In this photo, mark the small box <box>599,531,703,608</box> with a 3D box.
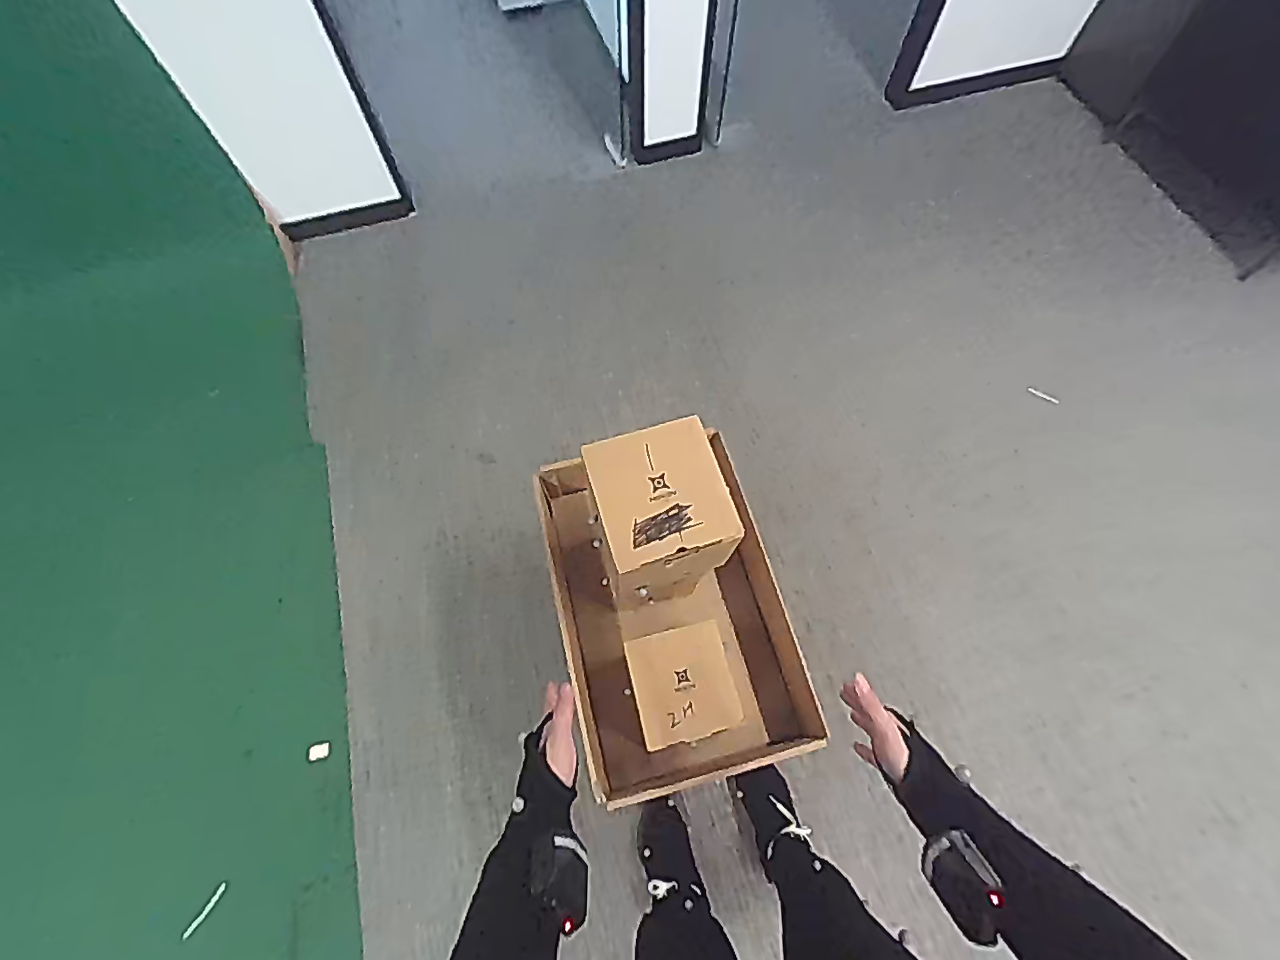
[{"bbox_3d":[0.013,0.137,1.067,0.168,0.176,0.179,-14,70,-6],"label":"small box"}]

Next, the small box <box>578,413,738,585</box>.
[{"bbox_3d":[0.021,0.038,0.753,0.168,0.176,0.179,-16,69,-7],"label":"small box"}]

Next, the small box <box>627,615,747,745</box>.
[{"bbox_3d":[0.075,0.359,0.962,0.168,0.176,0.179,-13,66,-4],"label":"small box"}]
